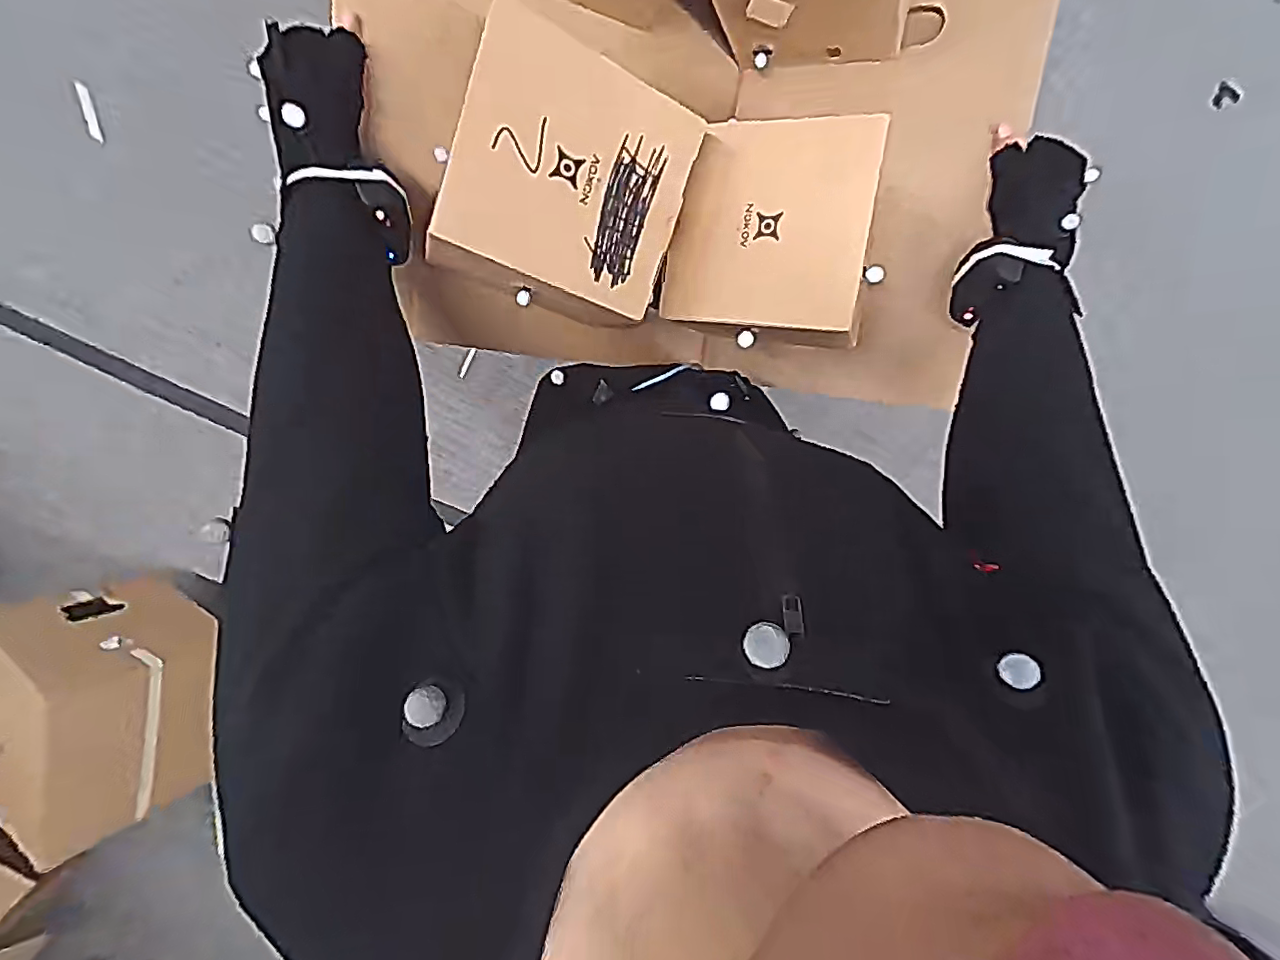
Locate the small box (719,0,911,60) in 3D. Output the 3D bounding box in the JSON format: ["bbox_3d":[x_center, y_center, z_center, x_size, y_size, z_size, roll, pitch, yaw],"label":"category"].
[{"bbox_3d":[0.168,-0.512,0.482,0.168,0.176,0.179,15,101,20],"label":"small box"}]
